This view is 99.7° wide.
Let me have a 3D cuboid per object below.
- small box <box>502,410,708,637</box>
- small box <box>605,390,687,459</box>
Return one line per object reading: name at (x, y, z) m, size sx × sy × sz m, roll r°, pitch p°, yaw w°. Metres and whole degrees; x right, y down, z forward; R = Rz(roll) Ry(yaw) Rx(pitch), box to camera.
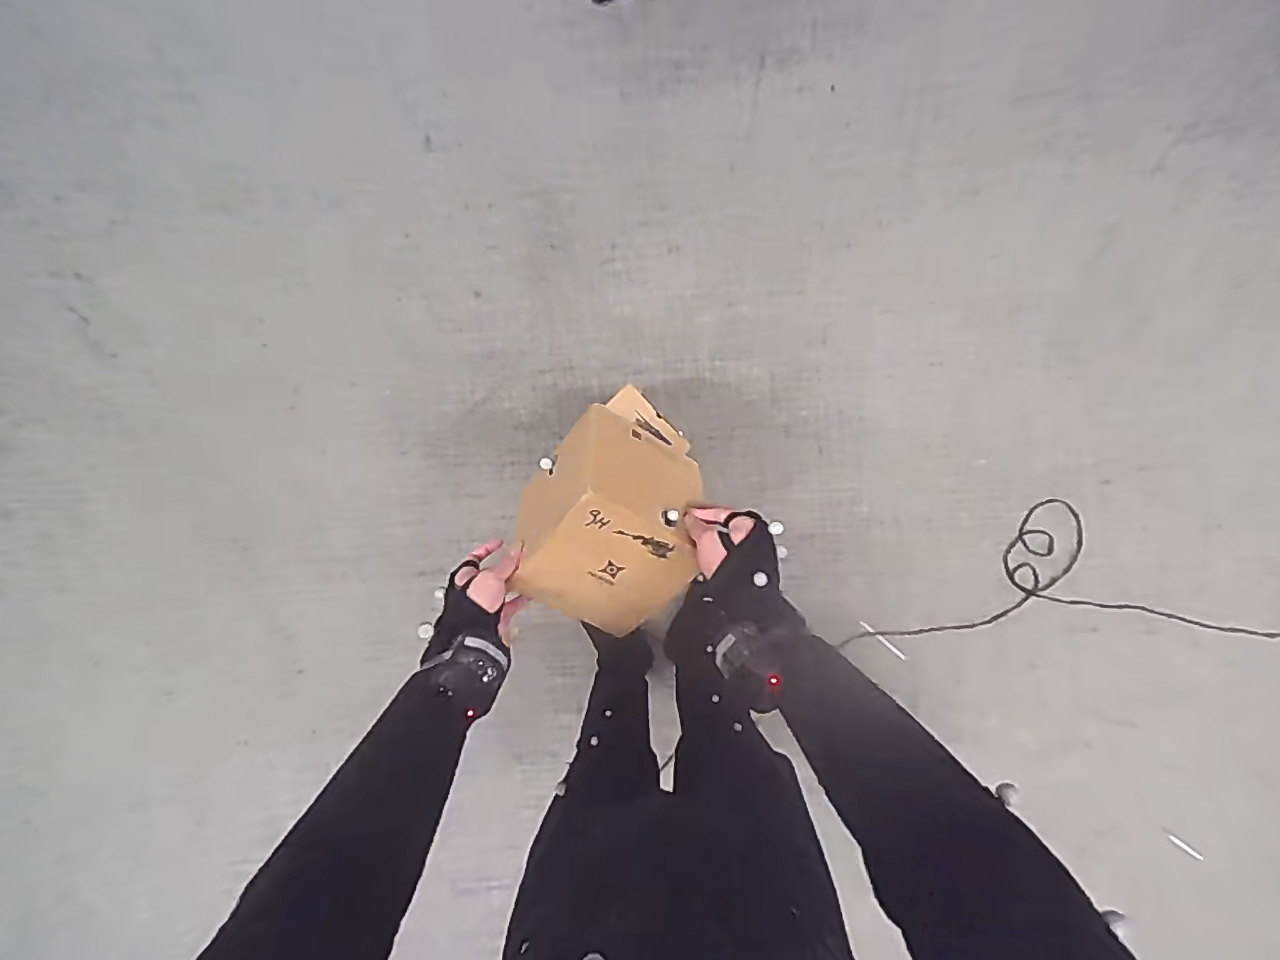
small box at (-0.040, 0.053, 0.650) m, size 0.168 × 0.176 × 0.179 m, roll 29°, pitch 123°, yaw -24°
small box at (-0.028, -0.055, 1.075) m, size 0.179 × 0.176 × 0.168 m, roll -43°, pitch 90°, yaw 2°
